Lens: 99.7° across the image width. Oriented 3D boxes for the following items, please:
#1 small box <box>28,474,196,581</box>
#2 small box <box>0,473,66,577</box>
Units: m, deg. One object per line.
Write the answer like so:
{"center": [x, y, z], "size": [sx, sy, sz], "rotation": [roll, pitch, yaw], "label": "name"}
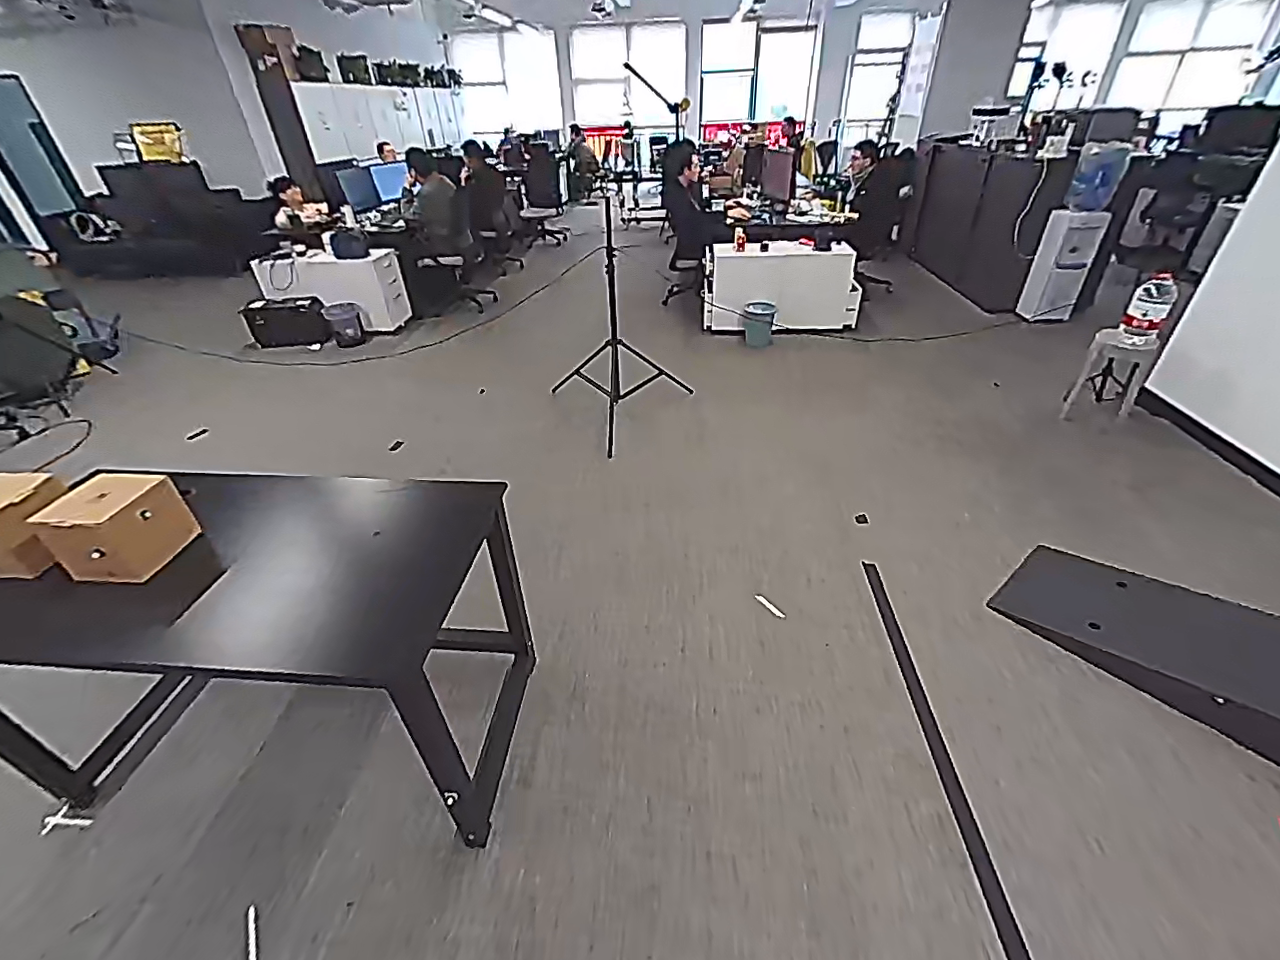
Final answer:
{"center": [-1.141, 0.105, 1.190], "size": [0.168, 0.176, 0.179], "rotation": [2, 34, 4], "label": "small box"}
{"center": [-1.403, 0.100, 1.204], "size": [0.179, 0.176, 0.168], "rotation": [1, 34, 3], "label": "small box"}
